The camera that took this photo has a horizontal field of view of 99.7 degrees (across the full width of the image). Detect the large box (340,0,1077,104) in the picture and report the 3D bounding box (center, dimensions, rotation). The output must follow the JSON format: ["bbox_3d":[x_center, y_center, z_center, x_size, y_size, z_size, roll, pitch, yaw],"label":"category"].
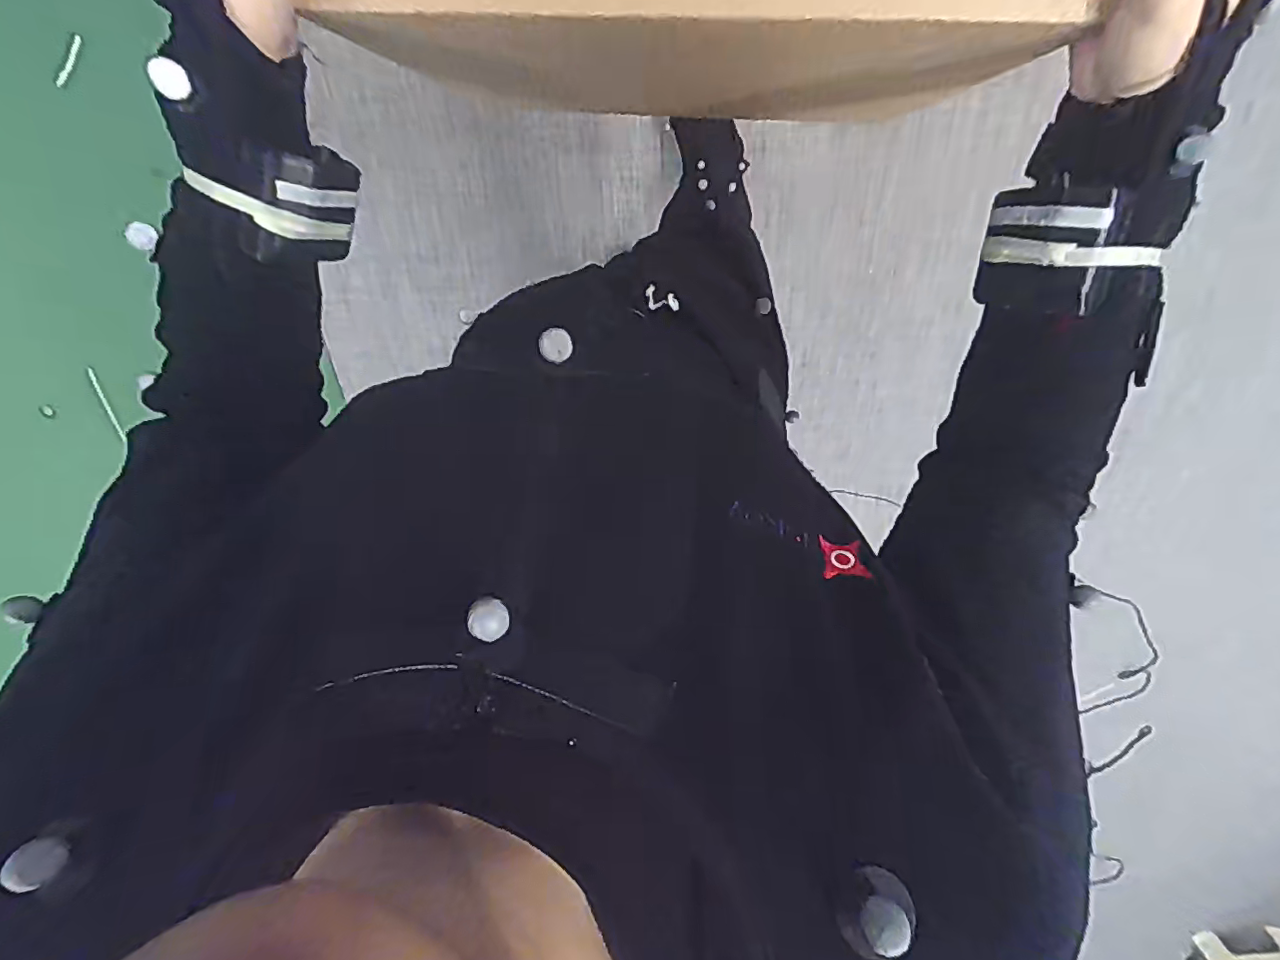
[{"bbox_3d":[0.040,-0.440,0.328,0.408,0.320,0.320,3,118,2],"label":"large box"}]
